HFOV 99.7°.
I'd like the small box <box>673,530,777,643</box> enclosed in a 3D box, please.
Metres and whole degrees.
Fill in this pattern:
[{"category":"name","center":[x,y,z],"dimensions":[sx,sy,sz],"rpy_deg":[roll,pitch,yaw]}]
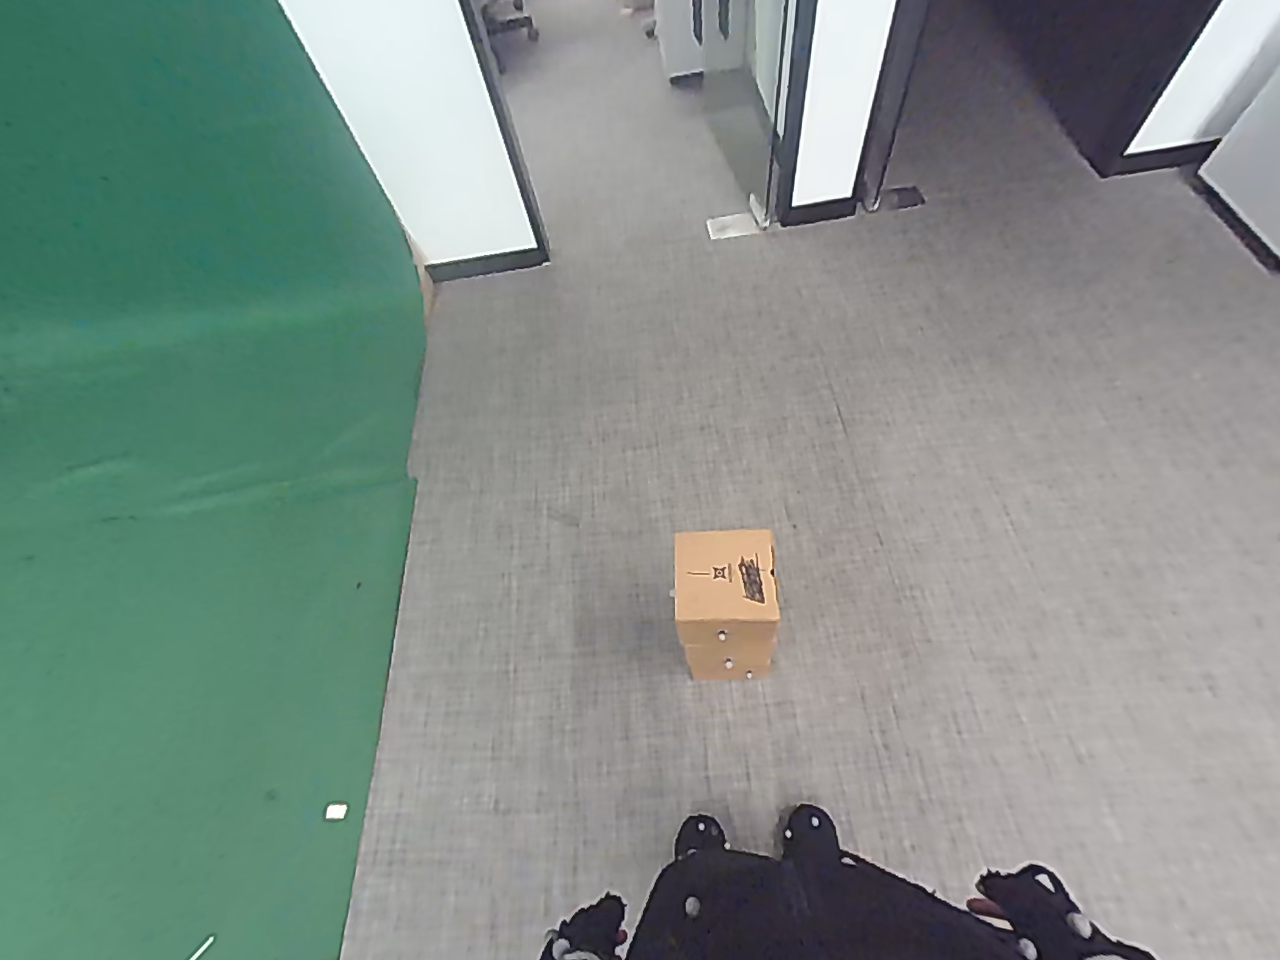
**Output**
[{"category":"small box","center":[0.157,0.202,1.012],"dimensions":[0.179,0.176,0.168],"rpy_deg":[-2,59,9]}]

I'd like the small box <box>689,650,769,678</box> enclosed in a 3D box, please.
[{"category":"small box","center":[0.203,0.370,1.290],"dimensions":[0.179,0.176,0.168],"rpy_deg":[-5,59,6]}]

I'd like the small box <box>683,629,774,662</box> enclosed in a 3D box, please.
[{"category":"small box","center":[0.180,0.285,1.152],"dimensions":[0.179,0.176,0.168],"rpy_deg":[-3,59,6]}]
